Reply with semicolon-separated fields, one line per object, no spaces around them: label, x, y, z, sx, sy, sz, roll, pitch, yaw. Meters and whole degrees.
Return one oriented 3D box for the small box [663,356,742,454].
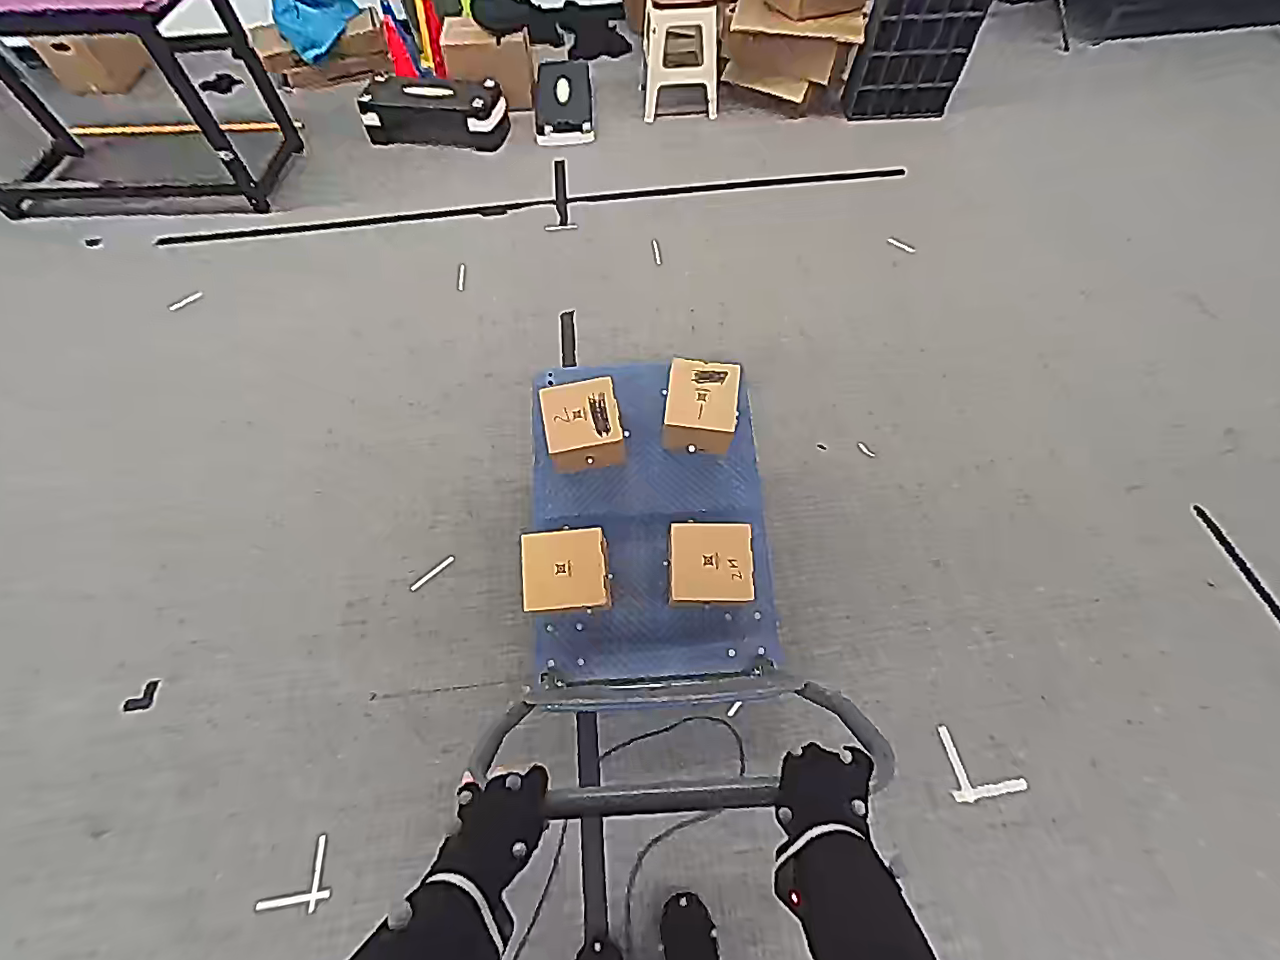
small box;0.150;-0.181;1.339;0.168;0.176;0.179;8;74;2

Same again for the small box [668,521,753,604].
small box;0.154;0.192;1.227;0.179;0.176;0.168;1;74;1

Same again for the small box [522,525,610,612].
small box;-0.163;0.205;1.224;0.179;0.176;0.168;-5;73;-3
